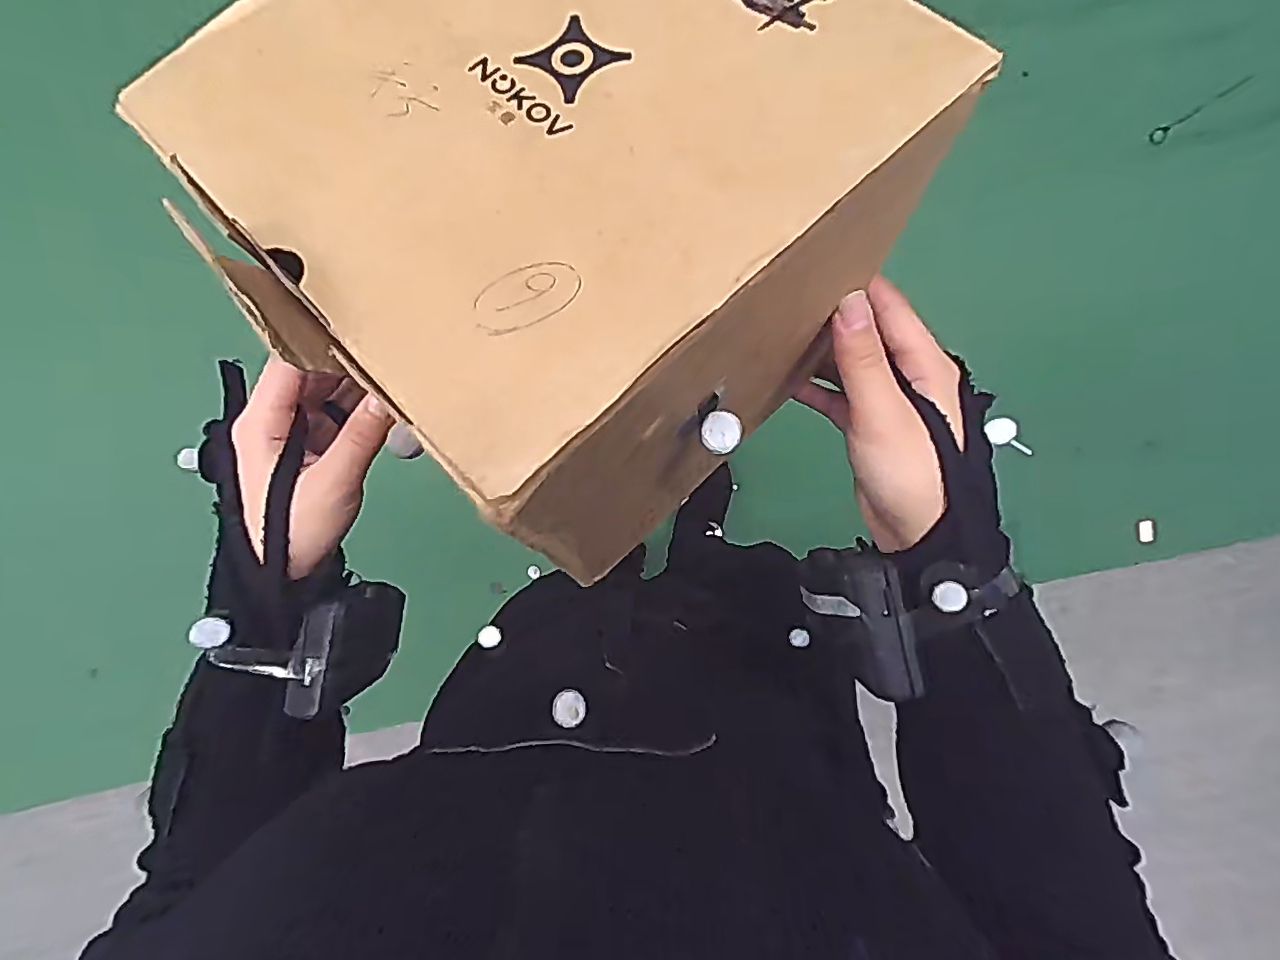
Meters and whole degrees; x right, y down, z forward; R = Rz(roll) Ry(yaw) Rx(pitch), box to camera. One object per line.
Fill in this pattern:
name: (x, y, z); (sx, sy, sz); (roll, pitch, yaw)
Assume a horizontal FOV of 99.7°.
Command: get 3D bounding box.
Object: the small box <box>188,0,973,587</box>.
small box: (-0.017, -0.072, 0.234); (0.179, 0.176, 0.168); (-43, 77, -10)
